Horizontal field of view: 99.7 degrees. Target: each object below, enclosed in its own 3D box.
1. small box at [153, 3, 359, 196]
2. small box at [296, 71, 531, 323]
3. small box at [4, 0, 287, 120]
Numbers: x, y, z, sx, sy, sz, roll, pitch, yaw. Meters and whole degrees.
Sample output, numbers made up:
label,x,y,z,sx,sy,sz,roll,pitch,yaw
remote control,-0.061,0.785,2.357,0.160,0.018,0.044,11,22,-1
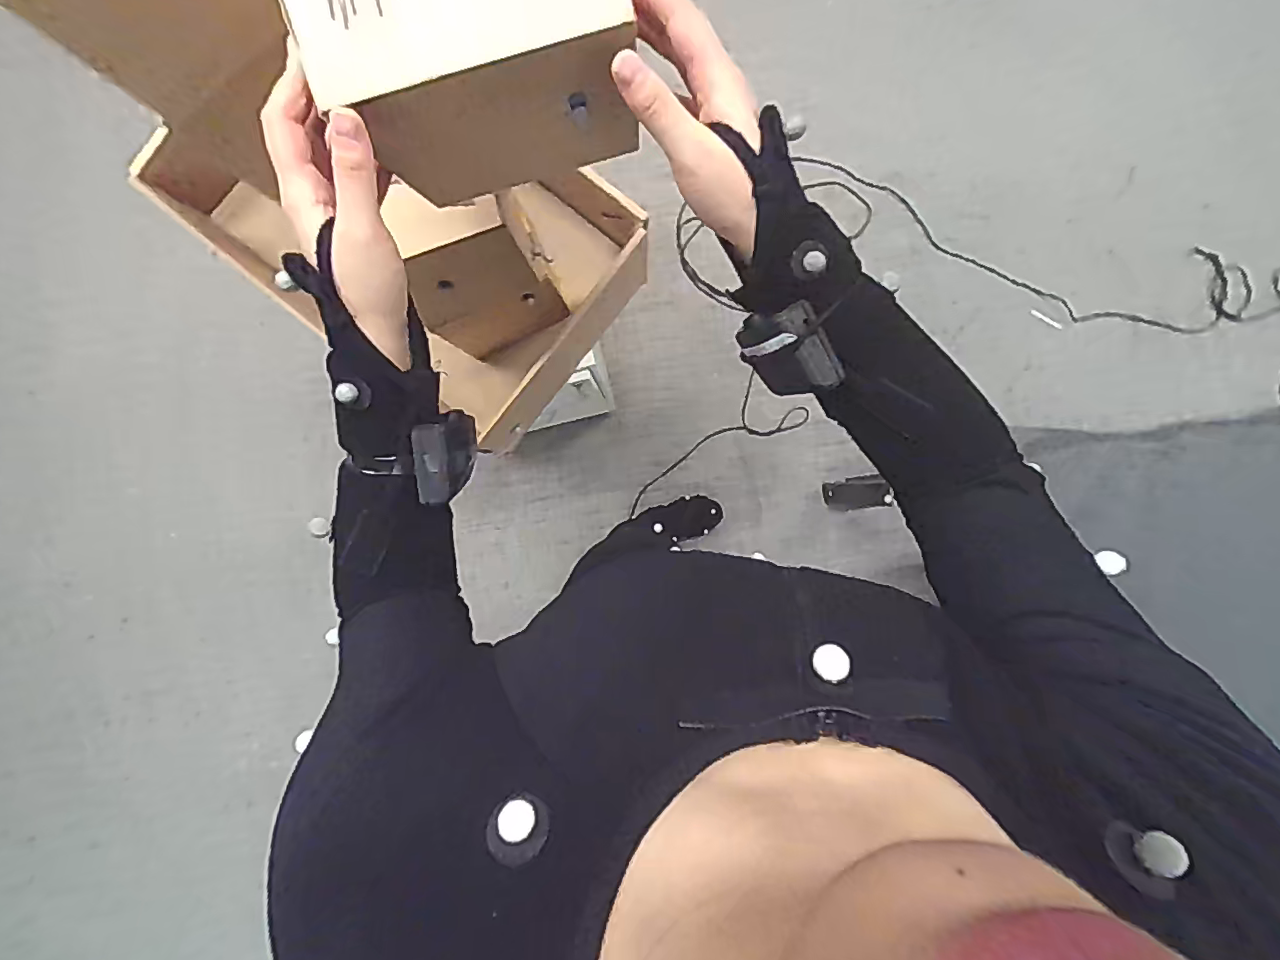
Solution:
label,x,y,z,sx,sy,sz,roll,pitch,yaw
small box,-0.460,-0.479,0.626,0.168,0.176,0.179,-36,91,3
small box,-0.237,-0.302,0.617,0.179,0.176,0.168,-18,88,4
small box,-0.449,-0.470,0.461,0.179,0.176,0.168,-39,89,3
